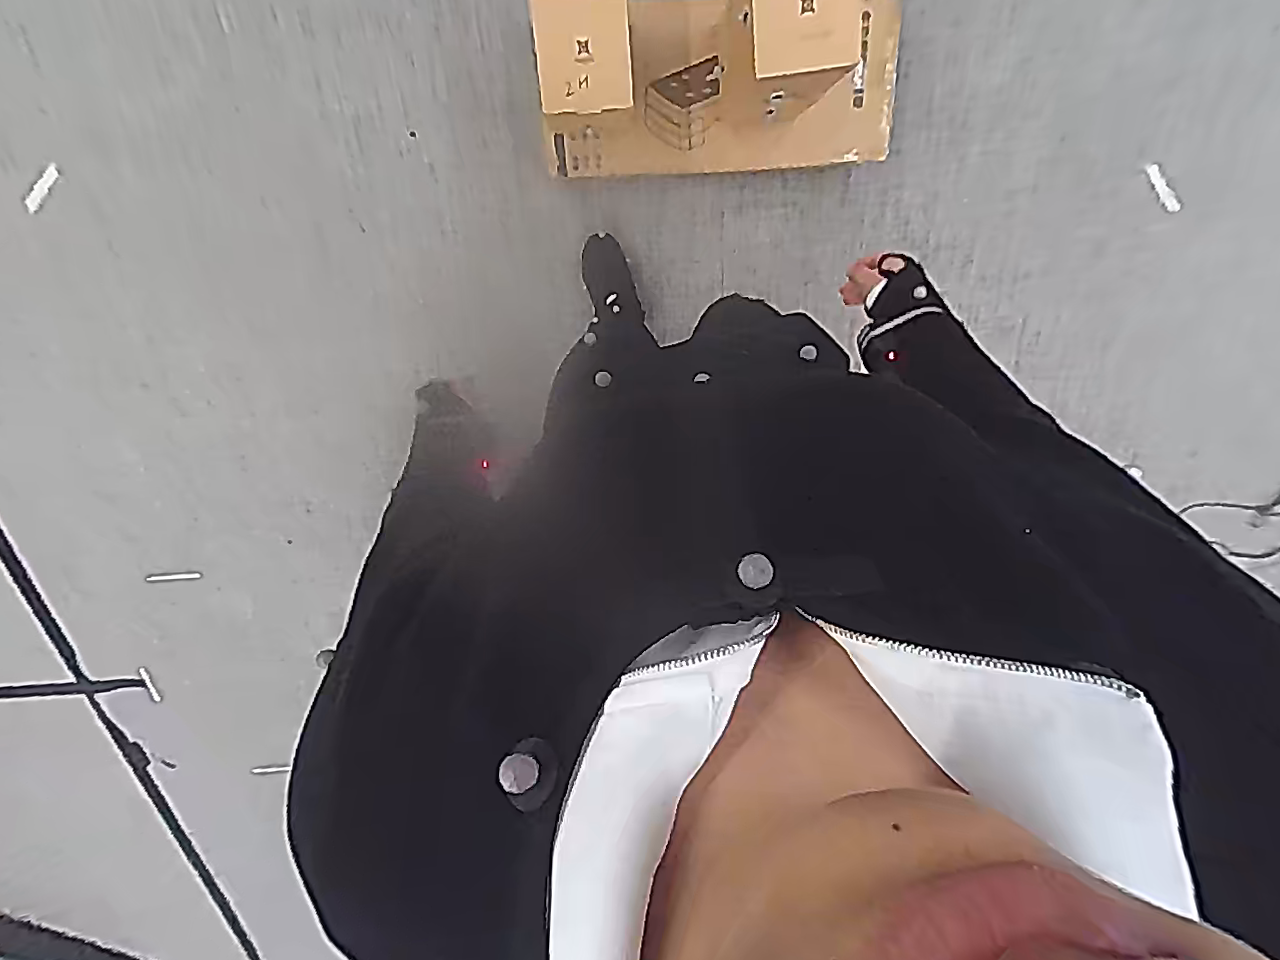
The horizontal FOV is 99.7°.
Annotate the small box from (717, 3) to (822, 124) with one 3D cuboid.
[{"bbox_3d":[0.243,-0.797,1.031,0.168,0.176,0.179,-6,113,-1],"label":"small box"}]

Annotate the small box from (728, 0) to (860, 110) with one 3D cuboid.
[{"bbox_3d":[0.243,-0.735,0.880,0.168,0.176,0.179,-9,113,1],"label":"small box"}]
